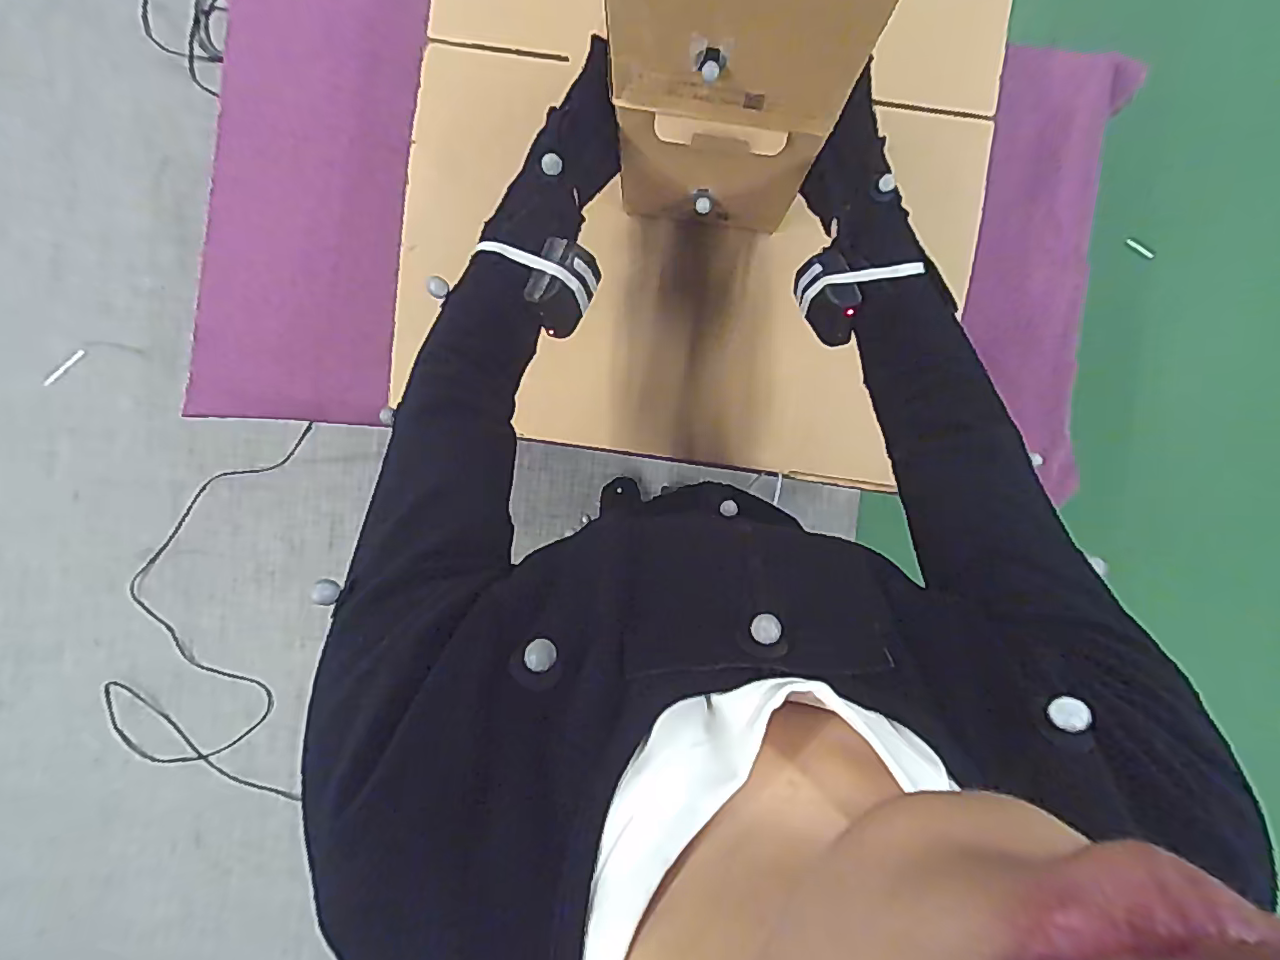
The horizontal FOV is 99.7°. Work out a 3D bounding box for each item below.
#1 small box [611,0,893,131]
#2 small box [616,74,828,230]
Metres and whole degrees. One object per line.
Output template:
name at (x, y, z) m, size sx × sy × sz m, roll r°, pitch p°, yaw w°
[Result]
small box at (0.072, -0.361, 0.330) m, size 0.168 × 0.176 × 0.179 m, roll 8°, pitch 90°, yaw 0°
small box at (0.074, -0.361, 0.492) m, size 0.168 × 0.176 × 0.179 m, roll 8°, pitch 90°, yaw 1°
